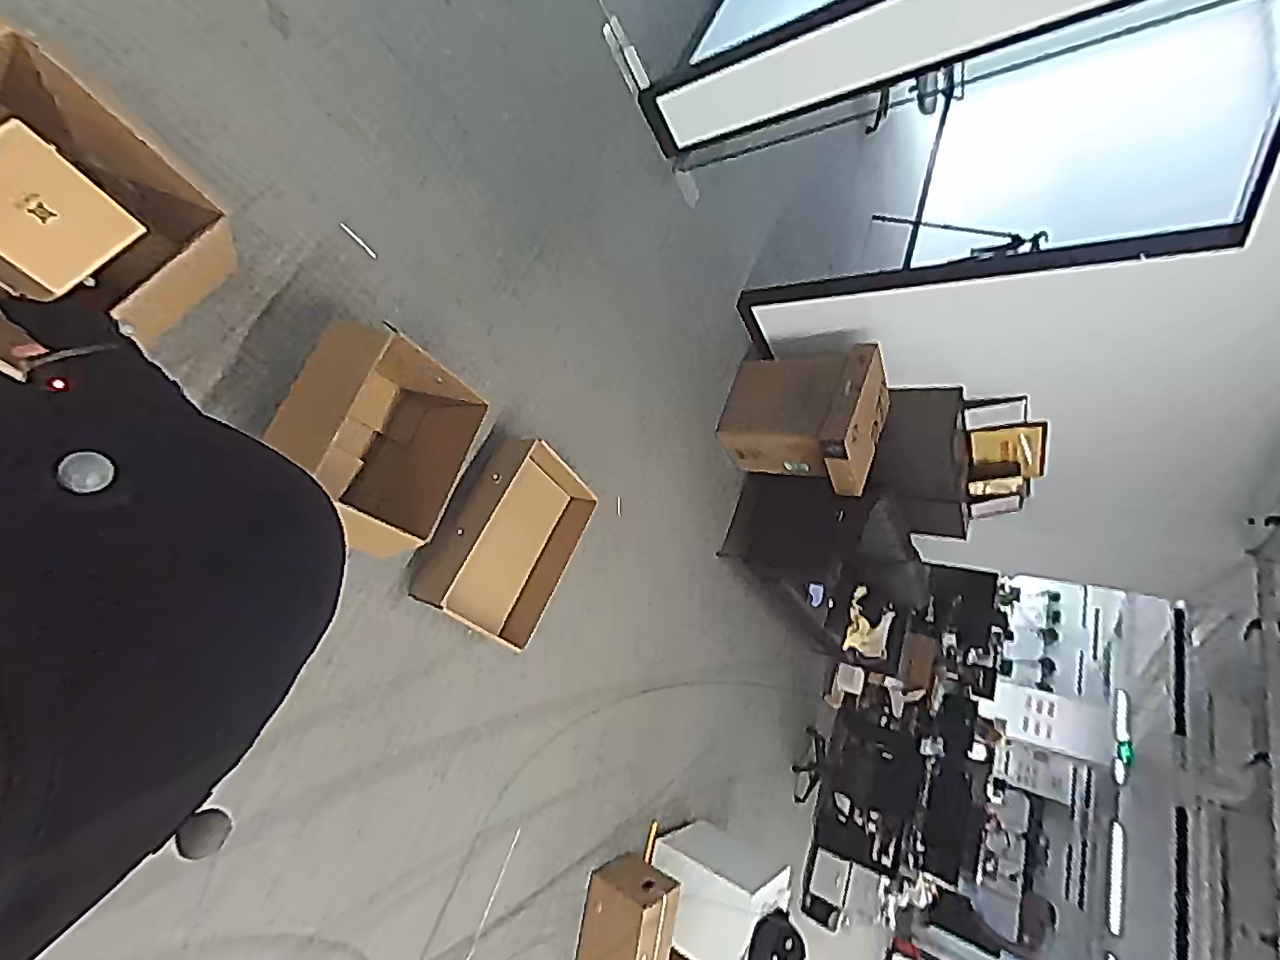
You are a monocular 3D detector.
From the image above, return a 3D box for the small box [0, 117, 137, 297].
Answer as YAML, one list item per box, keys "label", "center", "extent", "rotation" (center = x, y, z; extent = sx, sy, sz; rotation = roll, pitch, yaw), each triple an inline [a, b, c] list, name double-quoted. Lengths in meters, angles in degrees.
- label: "small box"
  center: [-0.934, -0.396, 0.814]
  extent: [0.179, 0.176, 0.168]
  rotation: [53, 53, -44]
